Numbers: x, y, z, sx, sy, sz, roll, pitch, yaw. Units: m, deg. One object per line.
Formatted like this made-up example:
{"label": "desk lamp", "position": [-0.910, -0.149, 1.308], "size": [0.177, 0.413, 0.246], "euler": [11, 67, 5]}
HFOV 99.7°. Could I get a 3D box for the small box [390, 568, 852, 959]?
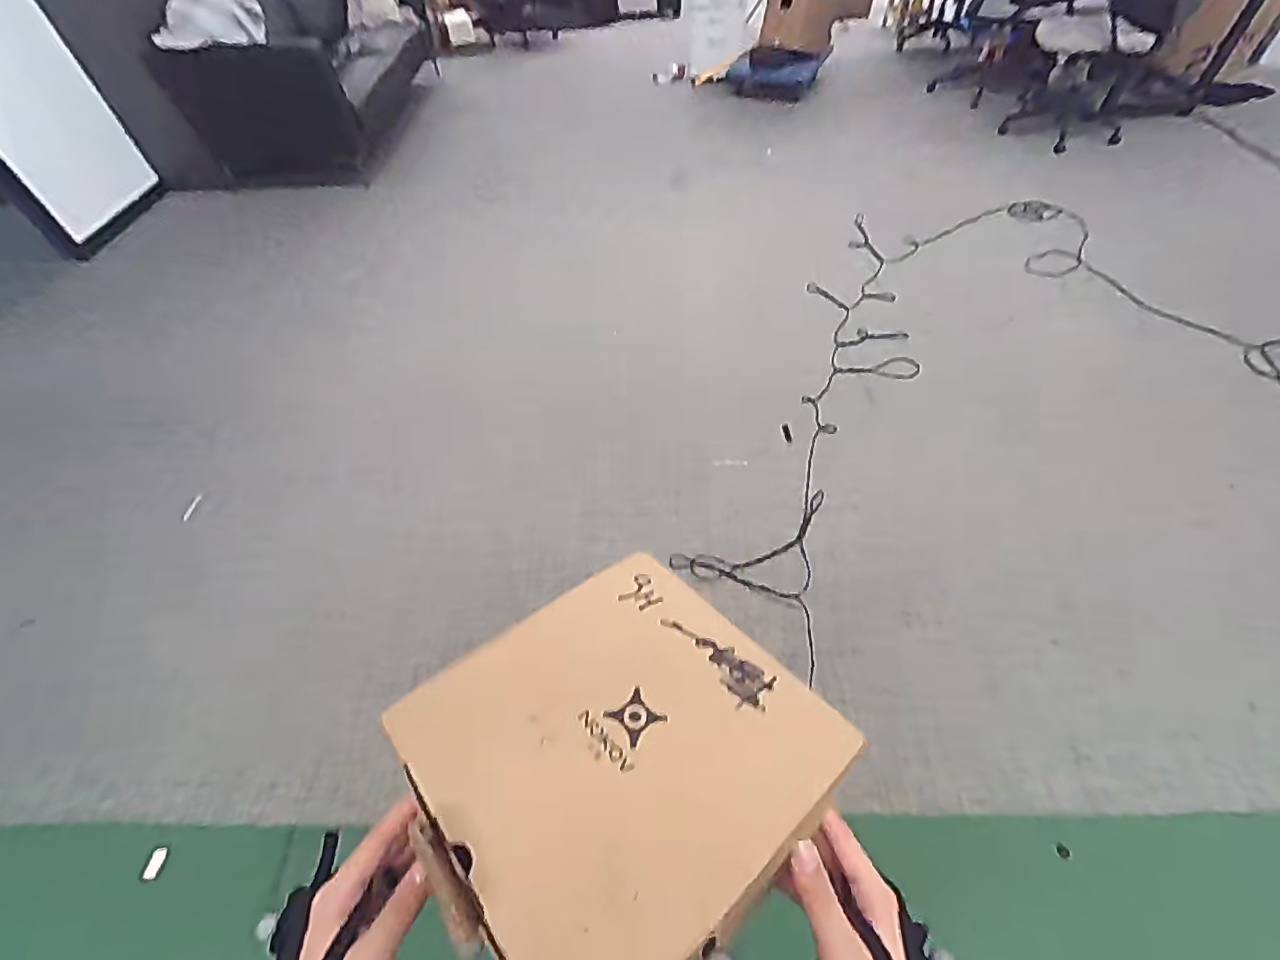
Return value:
{"label": "small box", "position": [-0.010, 0.194, 0.319], "size": [0.179, 0.176, 0.168], "euler": [-29, 48, -32]}
